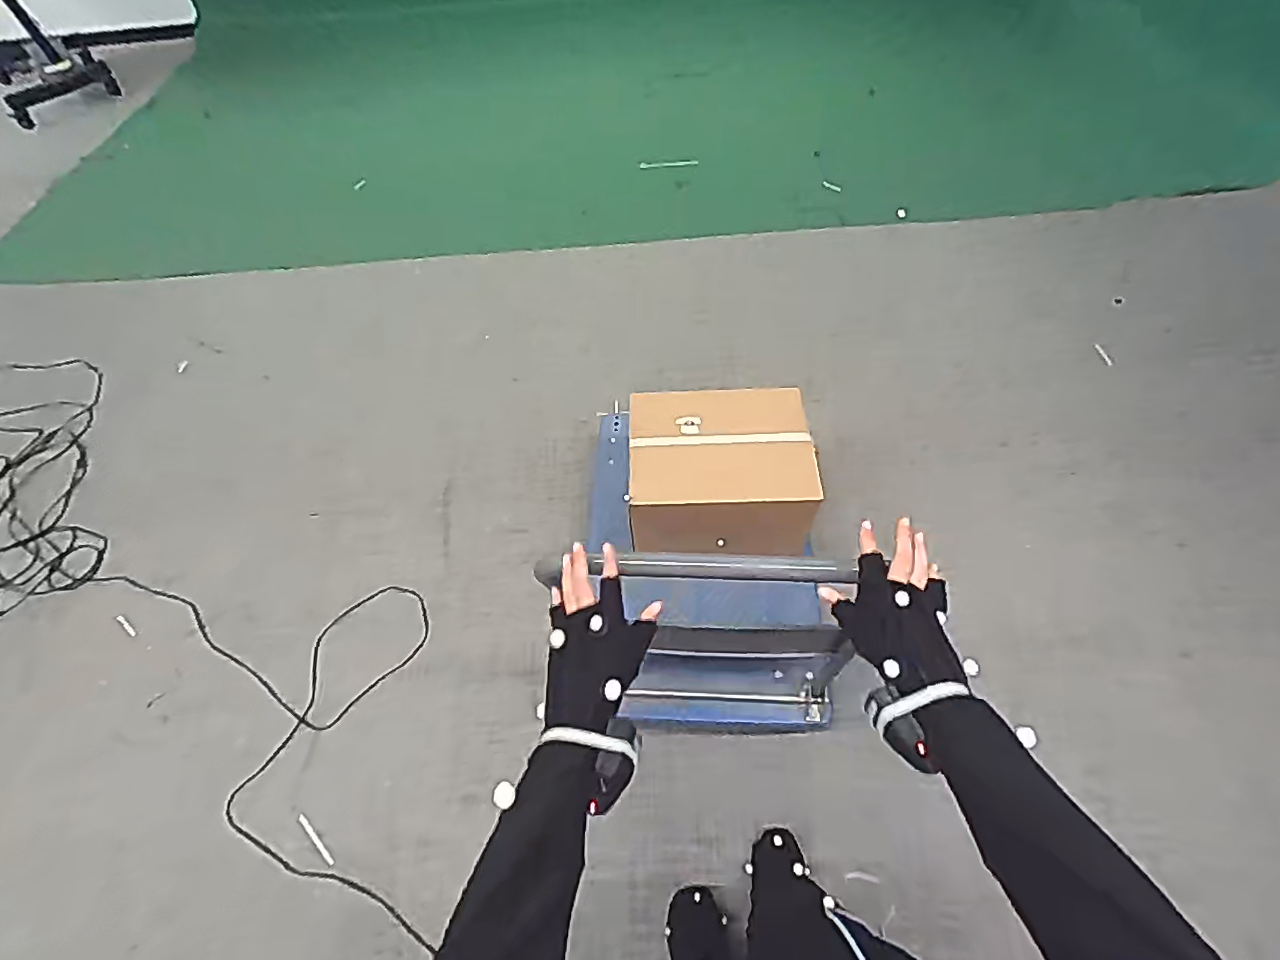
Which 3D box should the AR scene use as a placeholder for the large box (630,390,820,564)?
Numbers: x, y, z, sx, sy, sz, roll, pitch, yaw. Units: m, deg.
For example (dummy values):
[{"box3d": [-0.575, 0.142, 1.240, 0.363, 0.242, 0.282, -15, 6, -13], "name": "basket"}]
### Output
[{"box3d": [0.187, 0.002, 1.338, 0.408, 0.320, 0.320, -2, 56, 2], "name": "large box"}]
